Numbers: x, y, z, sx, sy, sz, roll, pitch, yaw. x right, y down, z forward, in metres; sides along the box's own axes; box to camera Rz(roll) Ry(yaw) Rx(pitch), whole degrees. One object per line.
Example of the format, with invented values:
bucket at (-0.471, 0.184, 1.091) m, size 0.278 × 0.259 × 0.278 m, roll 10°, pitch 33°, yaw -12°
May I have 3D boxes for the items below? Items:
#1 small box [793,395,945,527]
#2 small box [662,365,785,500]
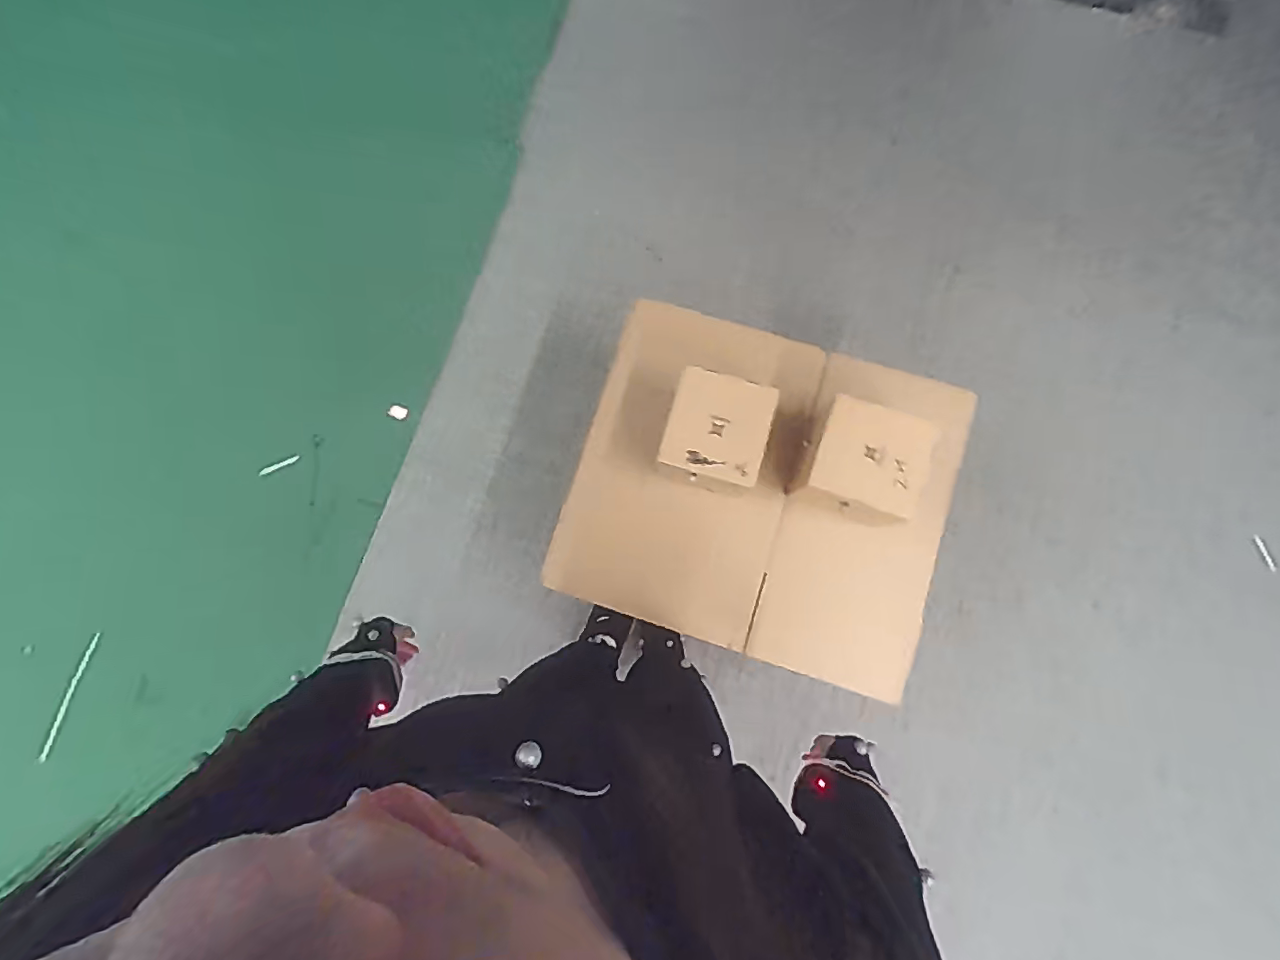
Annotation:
small box at (0.386, -0.023, 0.945) m, size 0.179 × 0.176 × 0.168 m, roll 21°, pitch 83°, yaw 7°
small box at (0.140, -0.077, 0.964) m, size 0.168 × 0.176 × 0.179 m, roll 17°, pitch 82°, yaw 6°
